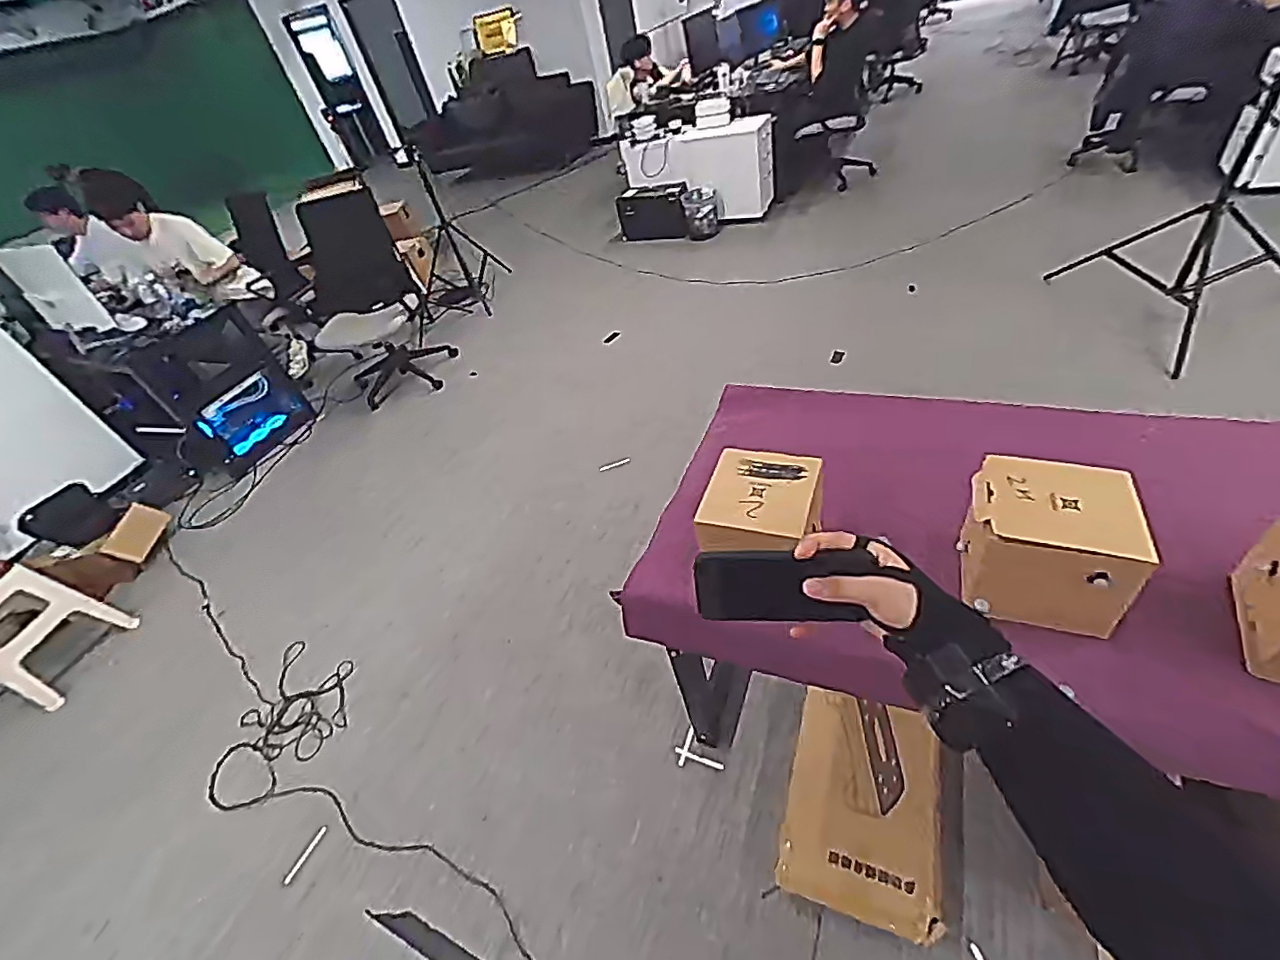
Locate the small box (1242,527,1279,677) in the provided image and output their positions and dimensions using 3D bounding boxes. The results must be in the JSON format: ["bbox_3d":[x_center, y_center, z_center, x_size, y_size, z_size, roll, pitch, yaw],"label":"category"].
[{"bbox_3d":[0.857,0.148,0.625,0.179,0.176,0.168,14,50,28],"label":"small box"}]

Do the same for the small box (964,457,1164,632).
[{"bbox_3d":[0.577,0.091,0.766,0.179,0.176,0.168,8,45,24],"label":"small box"}]
